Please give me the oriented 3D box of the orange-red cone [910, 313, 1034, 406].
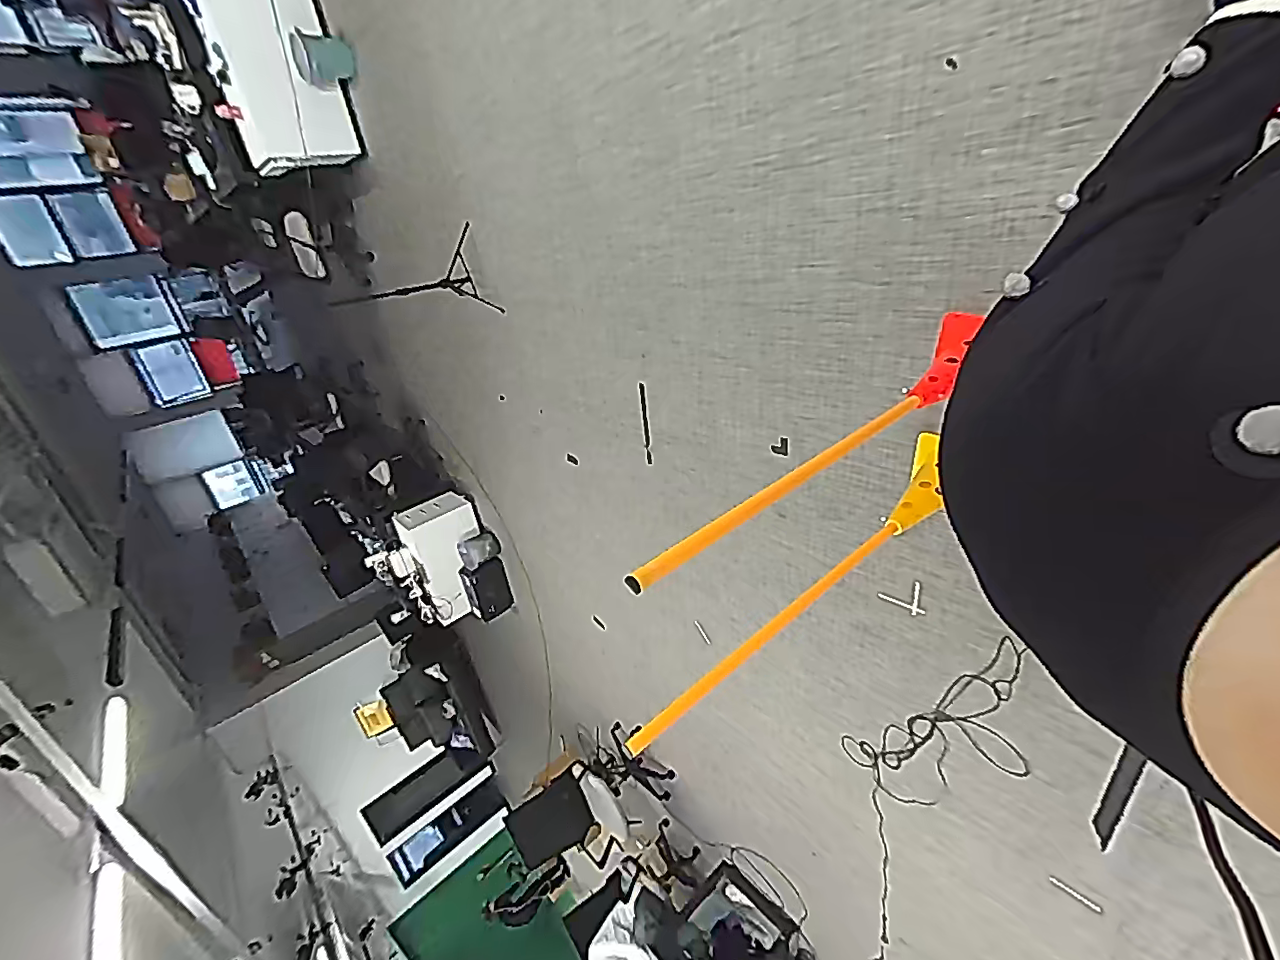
[{"bbox_3d":[0.717,-0.241,1.245,0.198,0.360,0.199,28,132,39],"label":"orange-red cone"}]
